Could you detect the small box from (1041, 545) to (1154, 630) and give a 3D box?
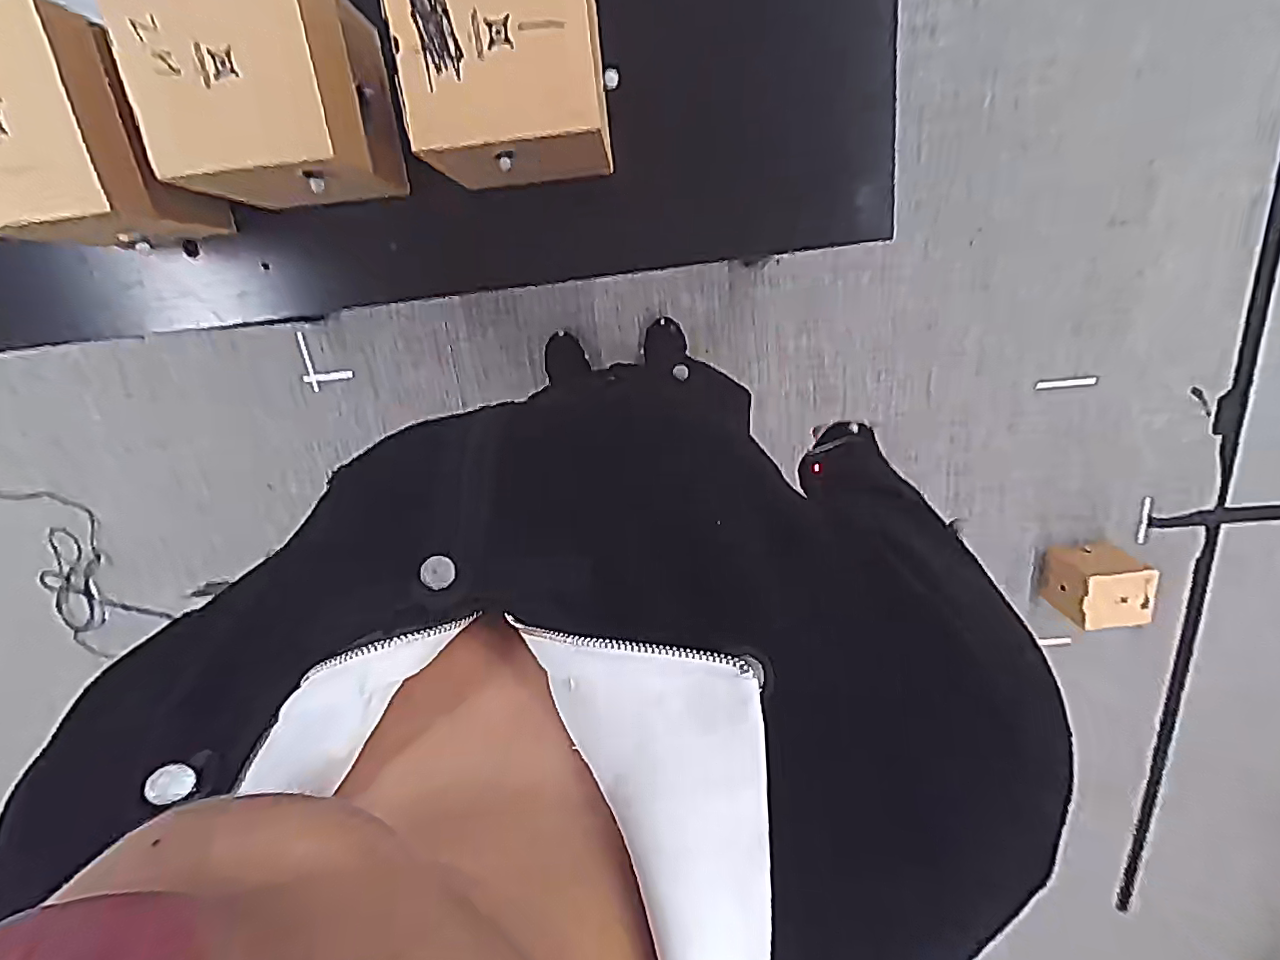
[{"bbox_3d":[1.259,0.295,1.504,0.179,0.176,0.168,-7,108,4],"label":"small box"}]

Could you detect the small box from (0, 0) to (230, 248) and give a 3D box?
[{"bbox_3d":[-0.584,-0.350,0.561,0.168,0.176,0.179,-6,108,4],"label":"small box"}]

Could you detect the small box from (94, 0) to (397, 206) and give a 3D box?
[{"bbox_3d":[-0.368,-0.385,0.544,0.179,0.176,0.168,-5,107,3],"label":"small box"}]
